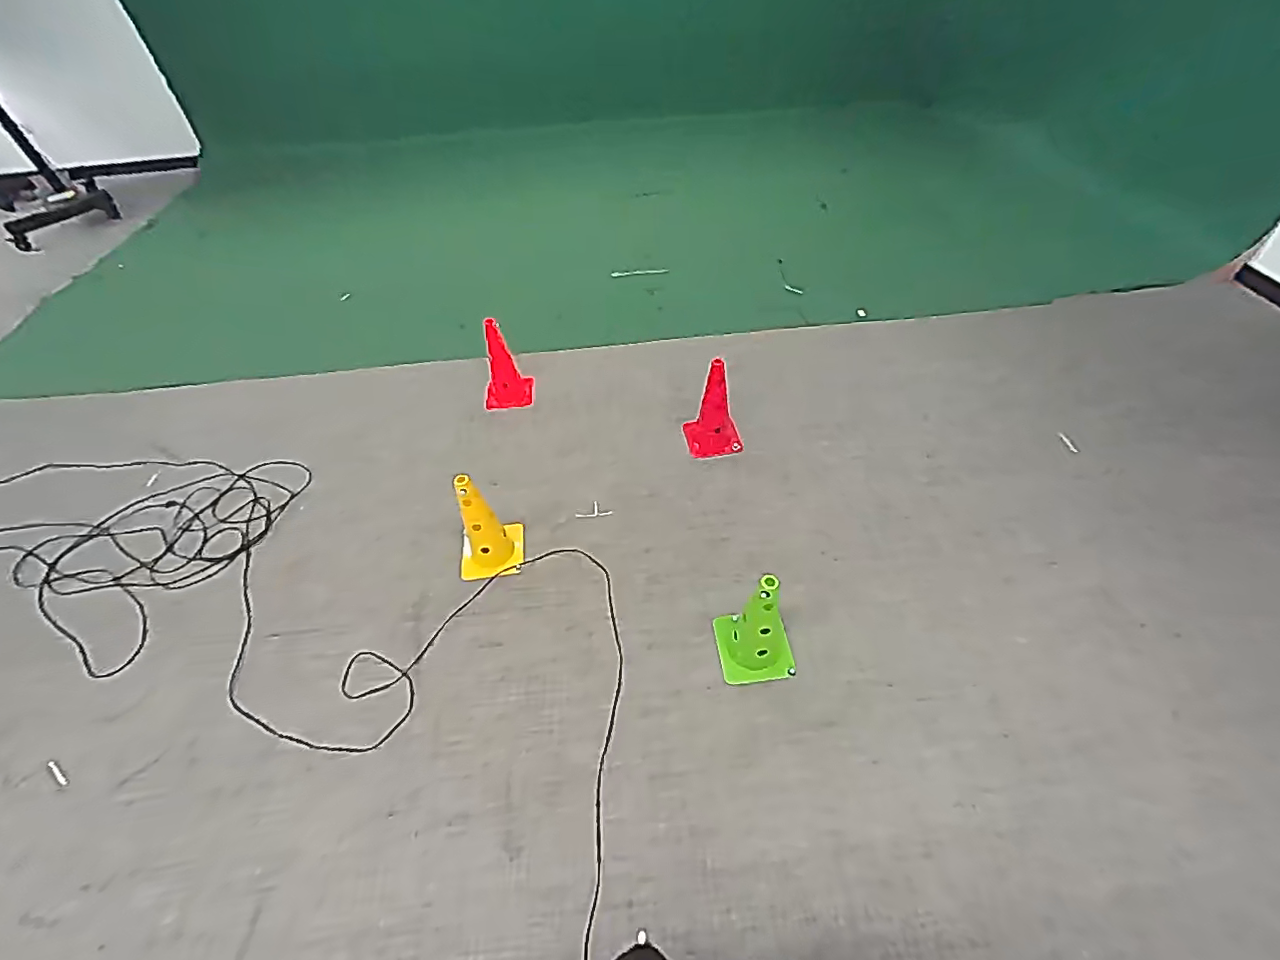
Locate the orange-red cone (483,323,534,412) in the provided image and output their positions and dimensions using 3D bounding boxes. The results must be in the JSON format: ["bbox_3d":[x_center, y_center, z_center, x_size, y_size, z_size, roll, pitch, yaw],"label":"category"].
[{"bbox_3d":[-0.570,-0.475,2.203,0.198,0.360,0.199,-6,49,0],"label":"orange-red cone"}]

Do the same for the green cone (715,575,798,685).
[{"bbox_3d":[0.312,0.353,1.397,0.202,0.368,0.200,-8,48,-1],"label":"green cone"}]

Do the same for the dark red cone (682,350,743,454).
[{"bbox_3d":[0.265,-0.292,1.944,0.202,0.394,0.201,-10,47,-5],"label":"dark red cone"}]
